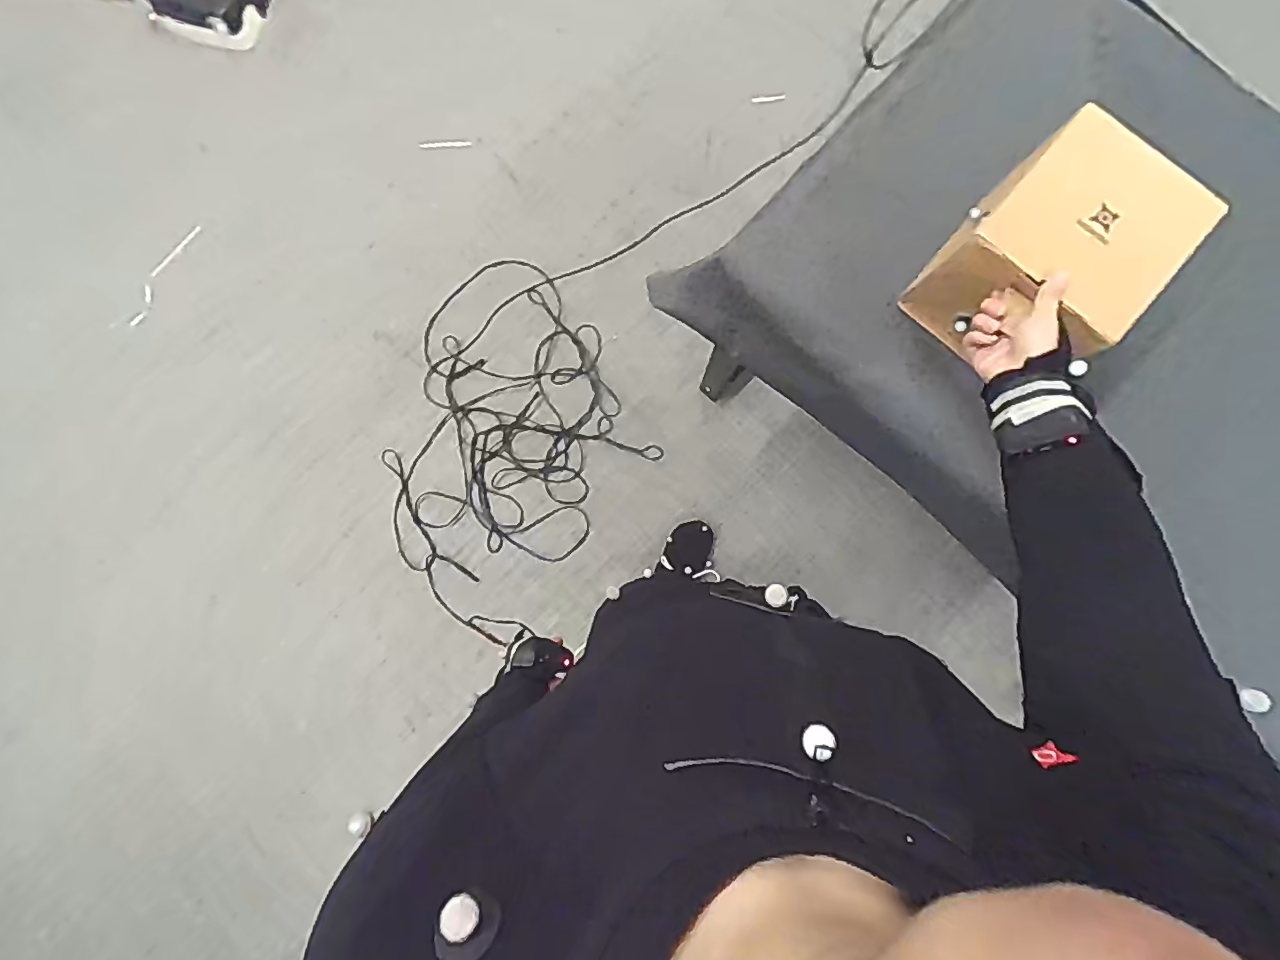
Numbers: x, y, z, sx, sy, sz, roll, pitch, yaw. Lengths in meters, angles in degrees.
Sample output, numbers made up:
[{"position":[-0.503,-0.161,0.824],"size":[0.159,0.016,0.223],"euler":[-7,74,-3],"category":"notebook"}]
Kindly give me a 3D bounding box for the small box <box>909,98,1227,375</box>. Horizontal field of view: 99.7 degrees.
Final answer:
[{"position":[0.435,-0.243,0.585],"size":[0.168,0.176,0.179],"euler":[40,88,3],"category":"small box"}]
